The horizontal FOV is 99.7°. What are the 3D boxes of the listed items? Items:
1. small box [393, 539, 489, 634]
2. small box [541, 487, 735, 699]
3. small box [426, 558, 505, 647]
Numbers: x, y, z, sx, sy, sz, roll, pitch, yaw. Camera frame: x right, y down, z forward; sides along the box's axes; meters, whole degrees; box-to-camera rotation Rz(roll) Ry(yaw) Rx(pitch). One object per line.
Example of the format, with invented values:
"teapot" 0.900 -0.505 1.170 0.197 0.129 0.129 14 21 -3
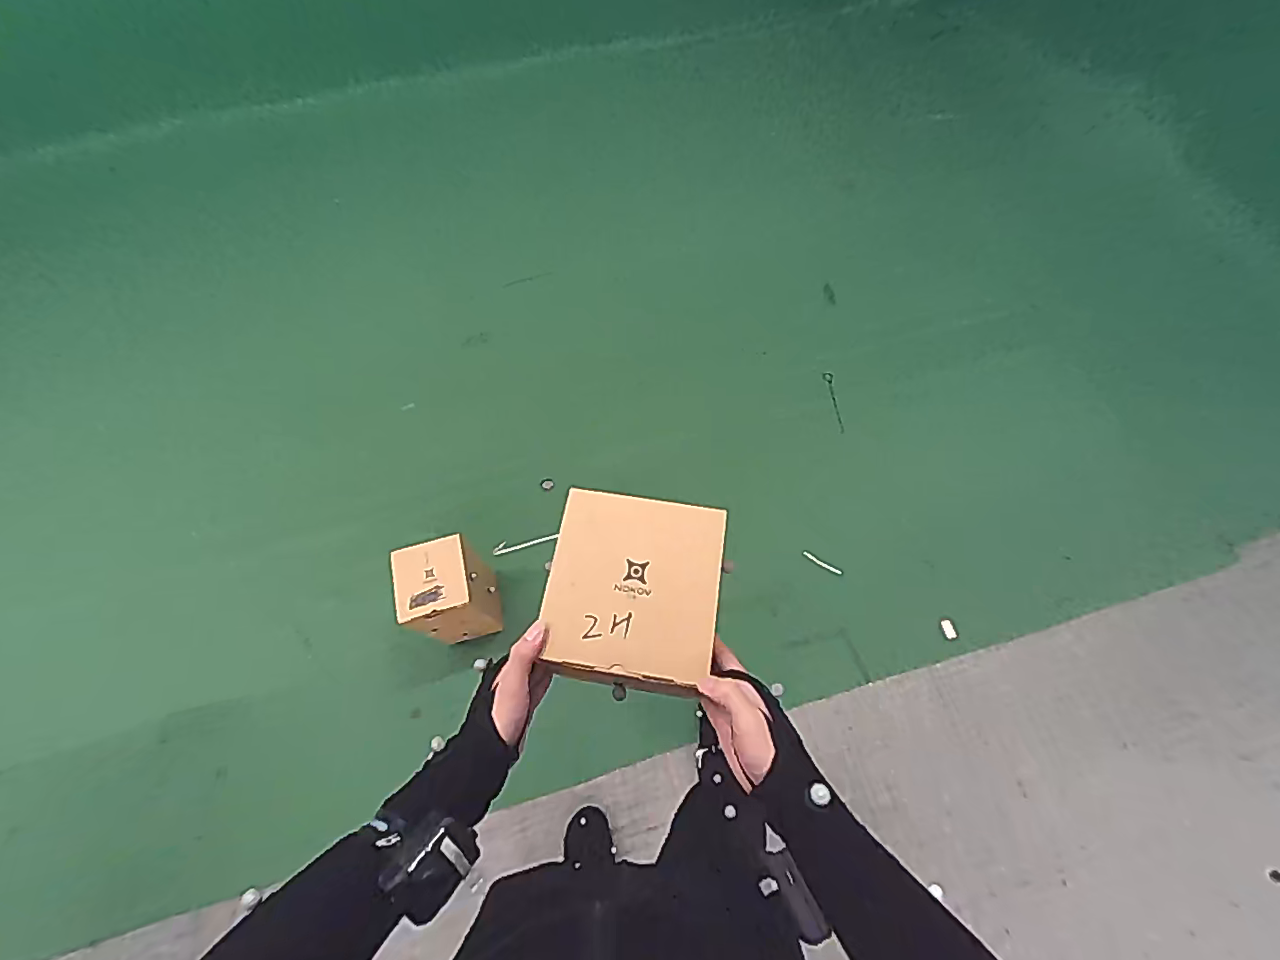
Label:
"small box" -0.480 0.267 1.317 0.168 0.176 0.179 -15 65 -6
"small box" 0.003 0.131 0.593 0.168 0.176 0.179 8 65 5
"small box" -0.477 0.336 1.466 0.168 0.176 0.179 -15 66 -6
